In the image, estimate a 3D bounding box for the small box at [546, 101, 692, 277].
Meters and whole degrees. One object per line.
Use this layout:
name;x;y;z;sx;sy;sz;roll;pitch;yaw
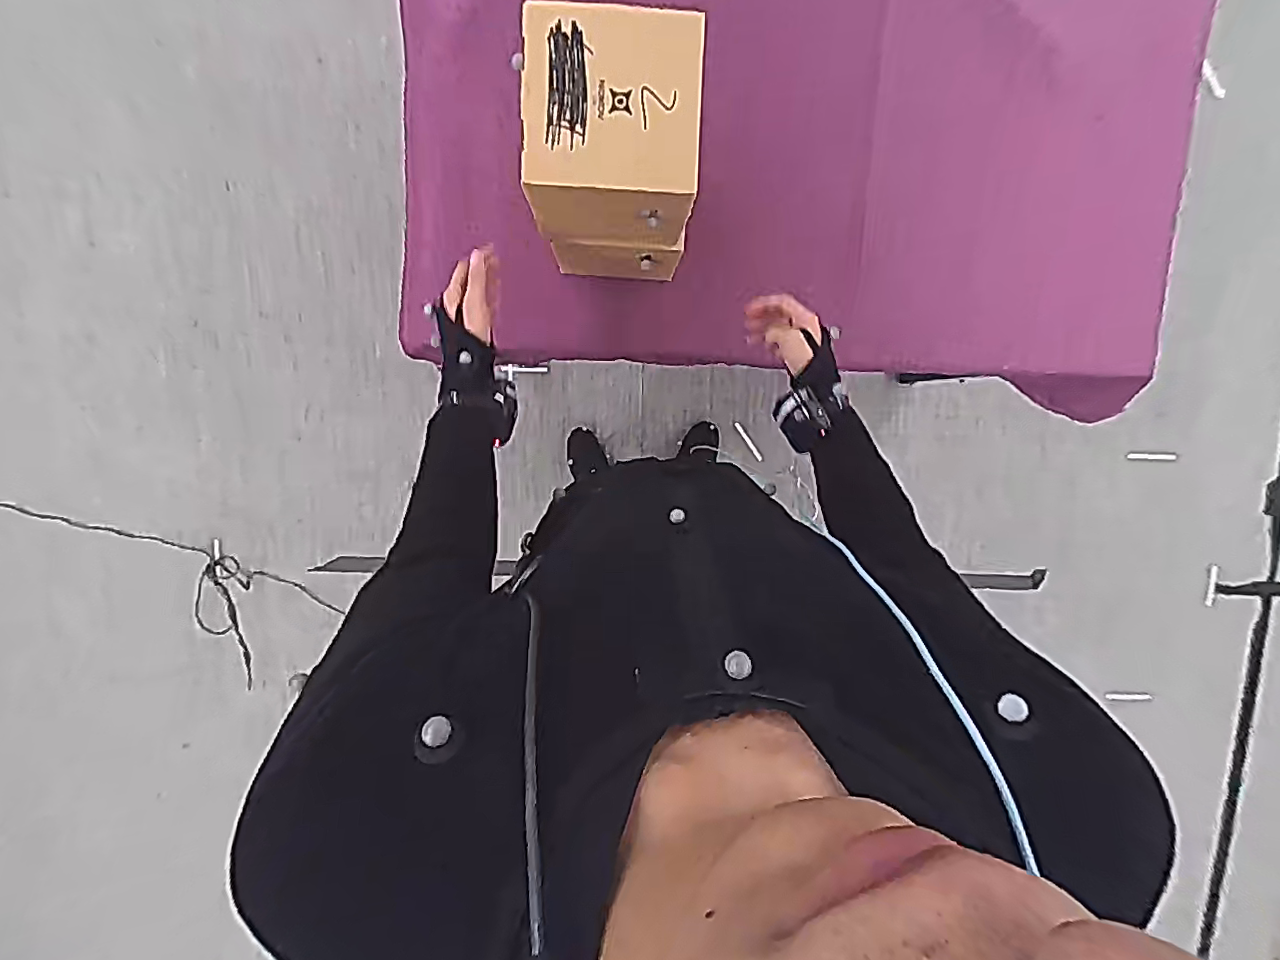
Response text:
small box;-0.032;-0.391;0.759;0.179;0.176;0.168;3;97;-3
